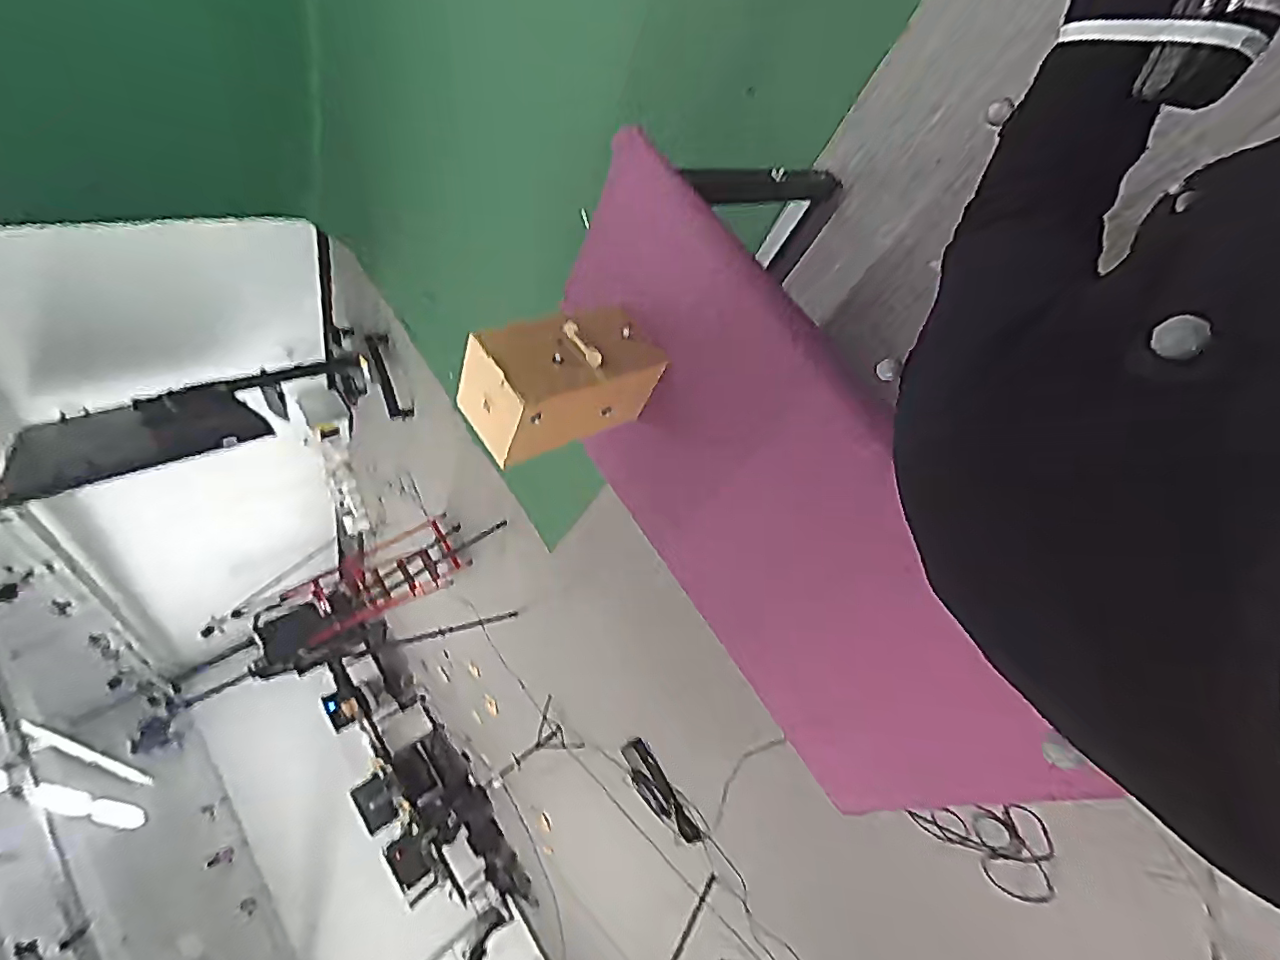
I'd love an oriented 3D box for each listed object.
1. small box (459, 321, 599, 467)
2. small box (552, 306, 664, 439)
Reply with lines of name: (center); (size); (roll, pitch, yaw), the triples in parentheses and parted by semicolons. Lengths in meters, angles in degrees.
small box: (-0.198, -0.156, 0.964); (0.168, 0.176, 0.179); (51, 139, 15)
small box: (-0.080, -0.213, 1.061); (0.168, 0.176, 0.179); (51, 140, 14)
